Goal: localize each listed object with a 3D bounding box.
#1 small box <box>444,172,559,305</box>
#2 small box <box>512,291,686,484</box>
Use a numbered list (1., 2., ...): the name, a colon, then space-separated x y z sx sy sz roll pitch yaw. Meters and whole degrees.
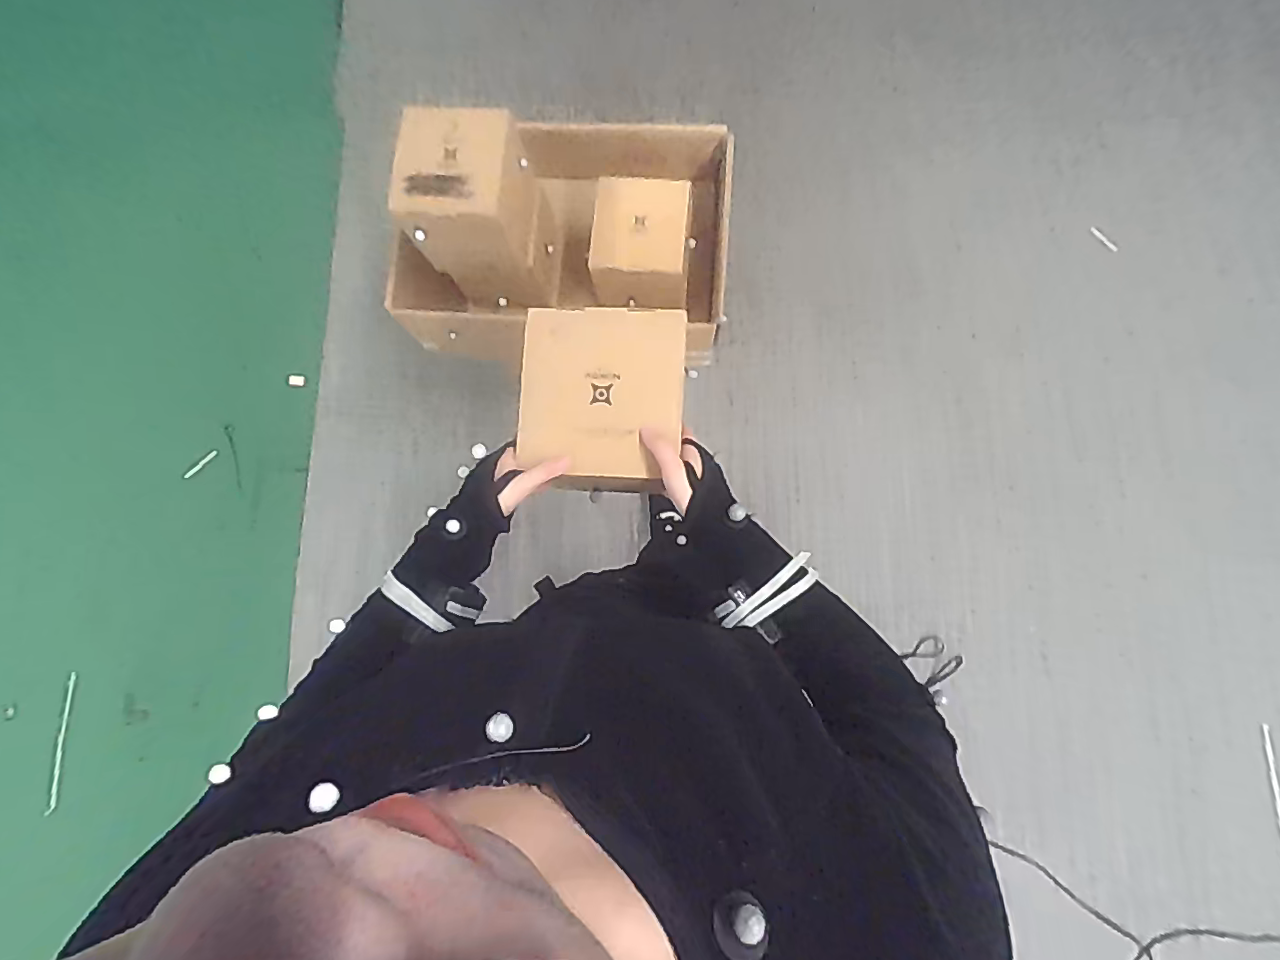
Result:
1. small box: -0.256 -0.457 1.041 0.168 0.176 0.179 3 83 5
2. small box: -0.036 -0.095 0.620 0.168 0.176 0.179 3 84 5
